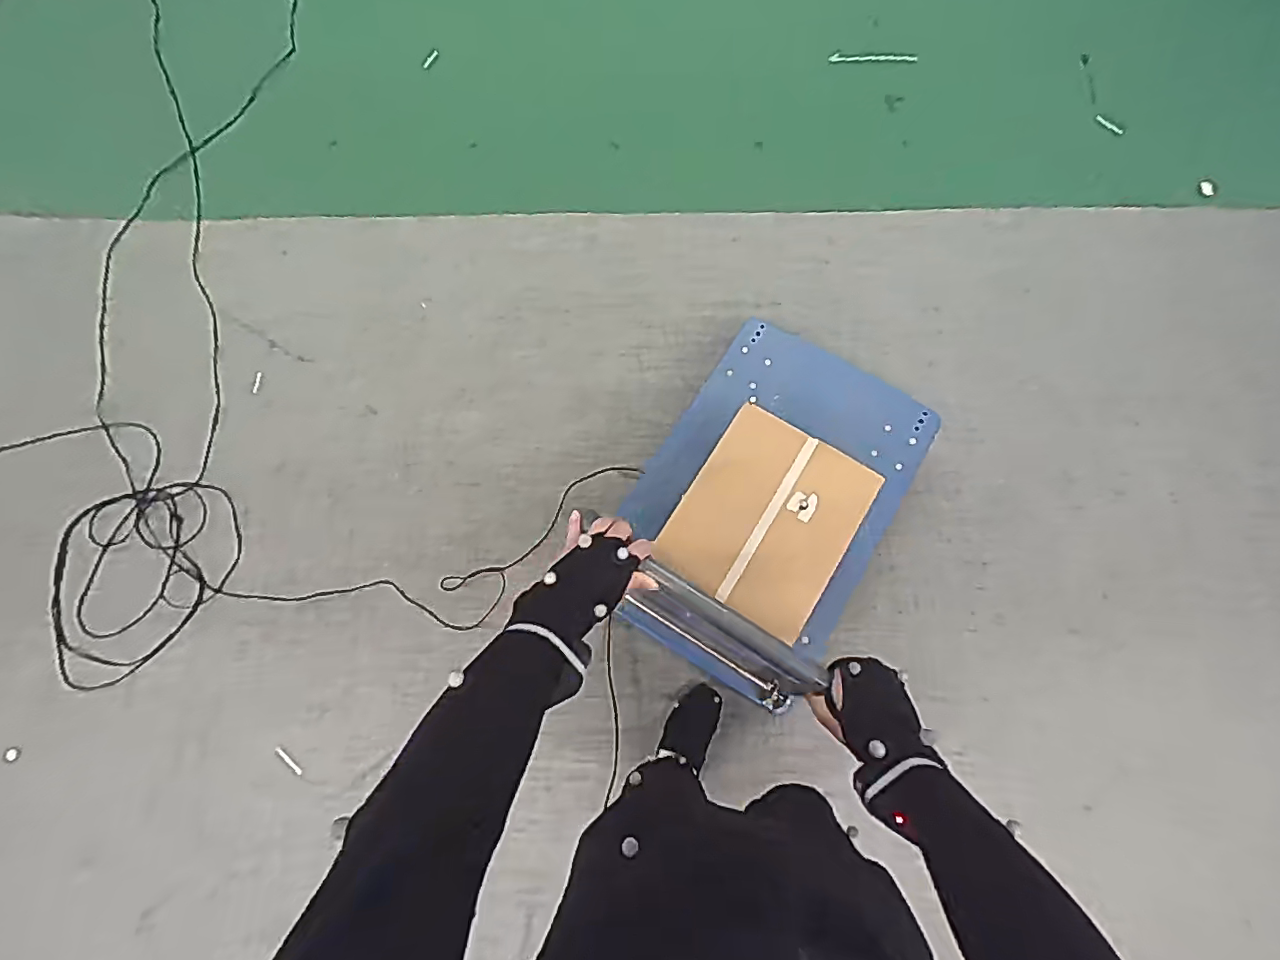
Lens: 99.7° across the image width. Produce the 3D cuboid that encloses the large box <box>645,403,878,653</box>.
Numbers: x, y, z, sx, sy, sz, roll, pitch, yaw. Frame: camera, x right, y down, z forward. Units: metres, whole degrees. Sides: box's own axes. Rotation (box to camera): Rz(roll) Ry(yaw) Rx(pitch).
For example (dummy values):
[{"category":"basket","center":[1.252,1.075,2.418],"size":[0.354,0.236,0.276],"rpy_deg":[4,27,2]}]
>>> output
[{"category":"large box","center":[0.241,0.121,1.178],"size":[0.320,0.320,0.408],"rpy_deg":[31,77,9]}]
